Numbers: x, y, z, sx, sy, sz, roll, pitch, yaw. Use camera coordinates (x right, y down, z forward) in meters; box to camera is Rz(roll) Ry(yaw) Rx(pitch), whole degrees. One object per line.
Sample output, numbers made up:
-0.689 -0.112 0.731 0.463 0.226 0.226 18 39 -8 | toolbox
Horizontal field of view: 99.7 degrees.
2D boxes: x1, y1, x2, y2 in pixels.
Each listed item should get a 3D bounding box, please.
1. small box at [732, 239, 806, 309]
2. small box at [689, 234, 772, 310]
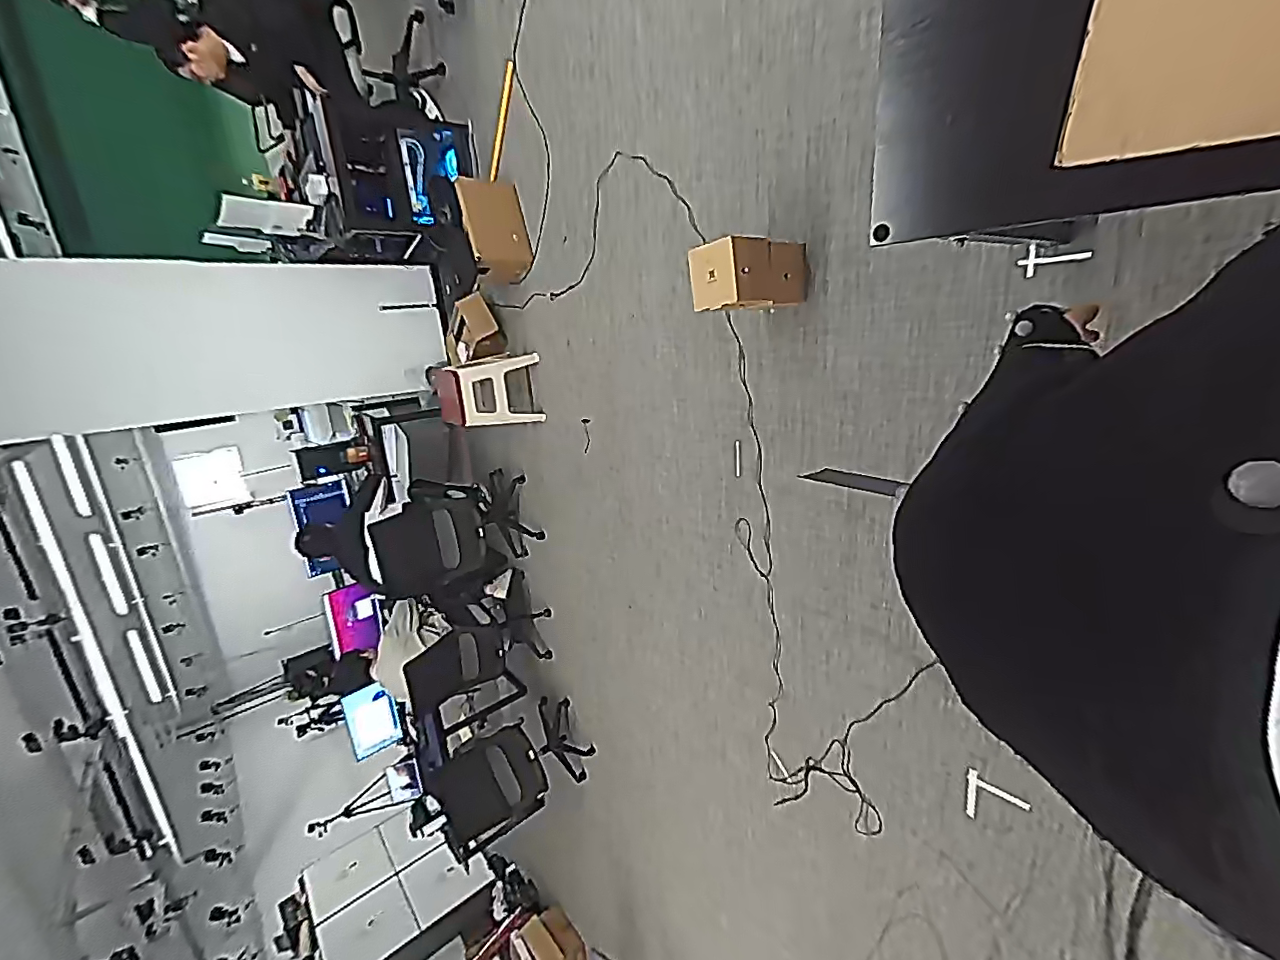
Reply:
0.391 -0.627 1.659 0.168 0.176 0.179 11 112 50 | small box
0.266 -0.595 1.560 0.168 0.176 0.179 5 107 50 | small box
